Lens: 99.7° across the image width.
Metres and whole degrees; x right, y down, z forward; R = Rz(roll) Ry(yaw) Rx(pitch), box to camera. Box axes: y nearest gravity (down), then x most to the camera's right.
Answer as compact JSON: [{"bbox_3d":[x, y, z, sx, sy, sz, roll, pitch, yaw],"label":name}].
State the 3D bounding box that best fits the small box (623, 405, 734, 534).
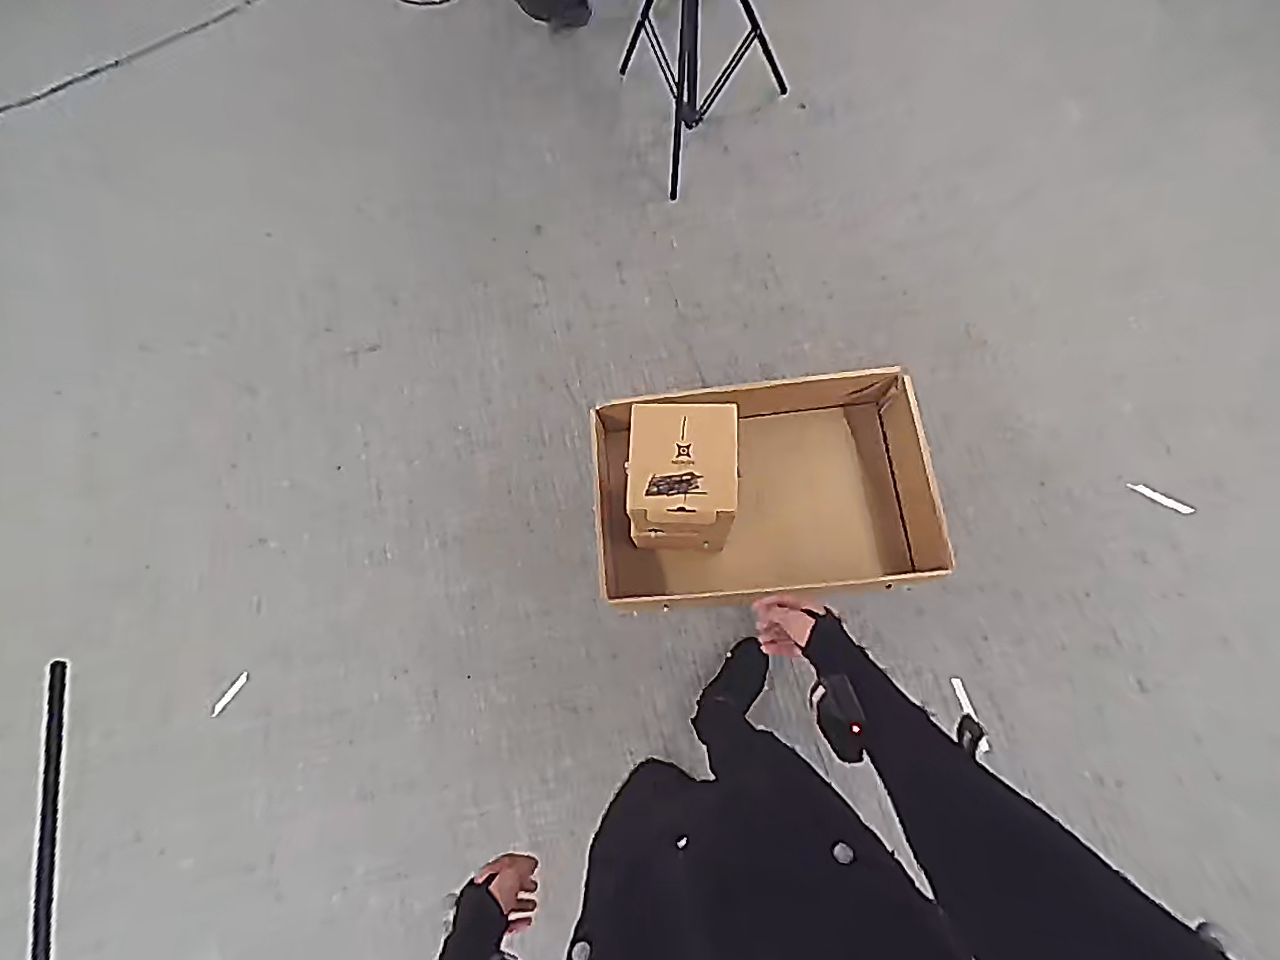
[{"bbox_3d":[0.068,-0.010,0.893,0.168,0.176,0.179,1,73,6],"label":"small box"}]
